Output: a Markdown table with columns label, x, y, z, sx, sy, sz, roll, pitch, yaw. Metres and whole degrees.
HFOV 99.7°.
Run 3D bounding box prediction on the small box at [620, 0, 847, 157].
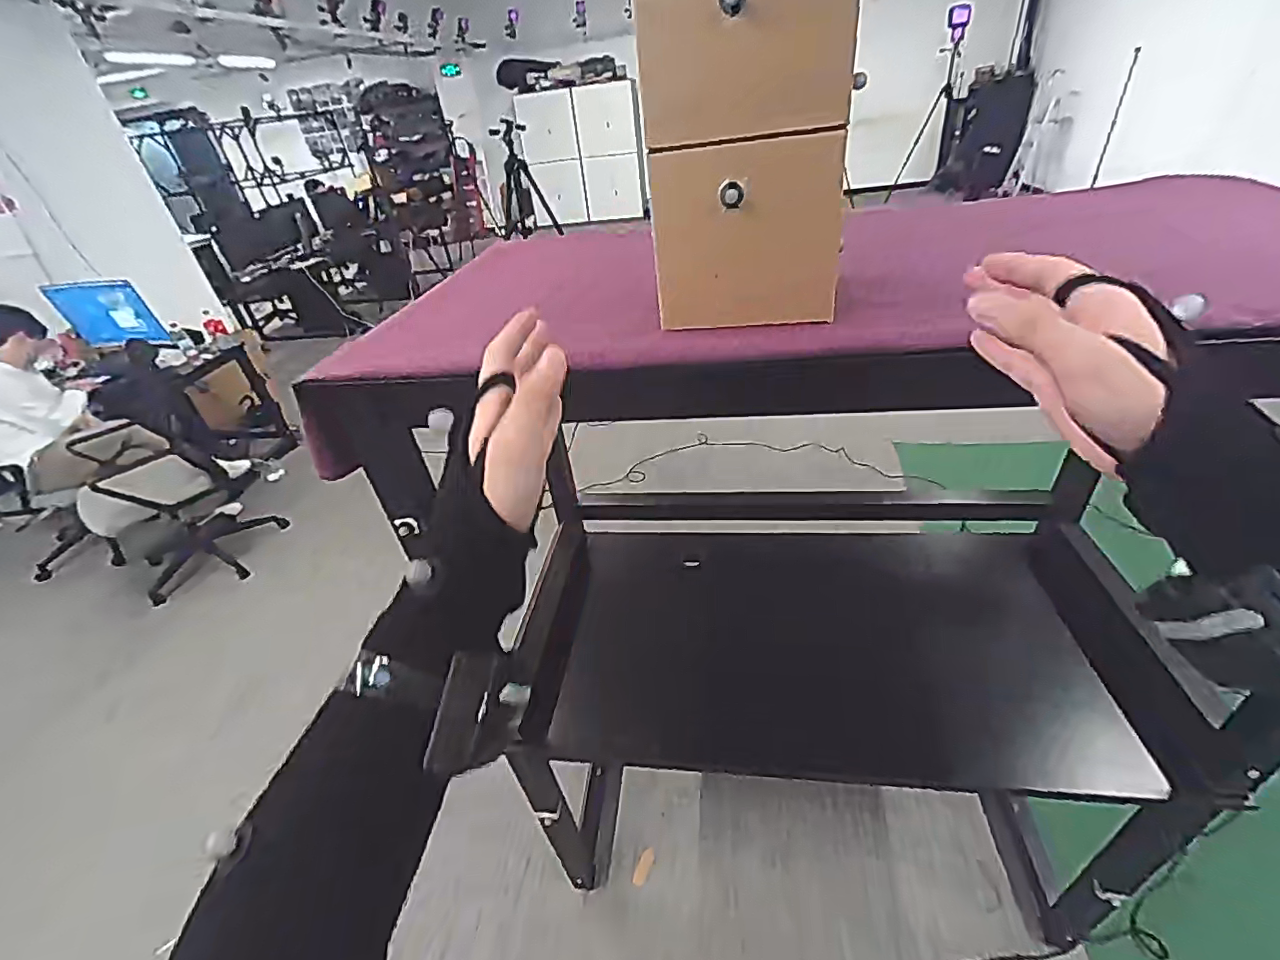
| label | x | y | z | sx | sy | sz | roll | pitch | yaw |
| --- | --- | --- | --- | --- | --- | --- | --- | --- | --- |
| small box | 0.087 | -0.401 | 0.483 | 0.179 | 0.176 | 0.168 | -1 | 35 | 13 |

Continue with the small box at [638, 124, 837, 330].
| label | x | y | z | sx | sy | sz | roll | pitch | yaw |
| --- | --- | --- | --- | --- | --- | --- | --- | --- | --- |
| small box | 0.108 | -0.267 | 0.576 | 0.179 | 0.176 | 0.168 | 0 | 36 | 13 |
